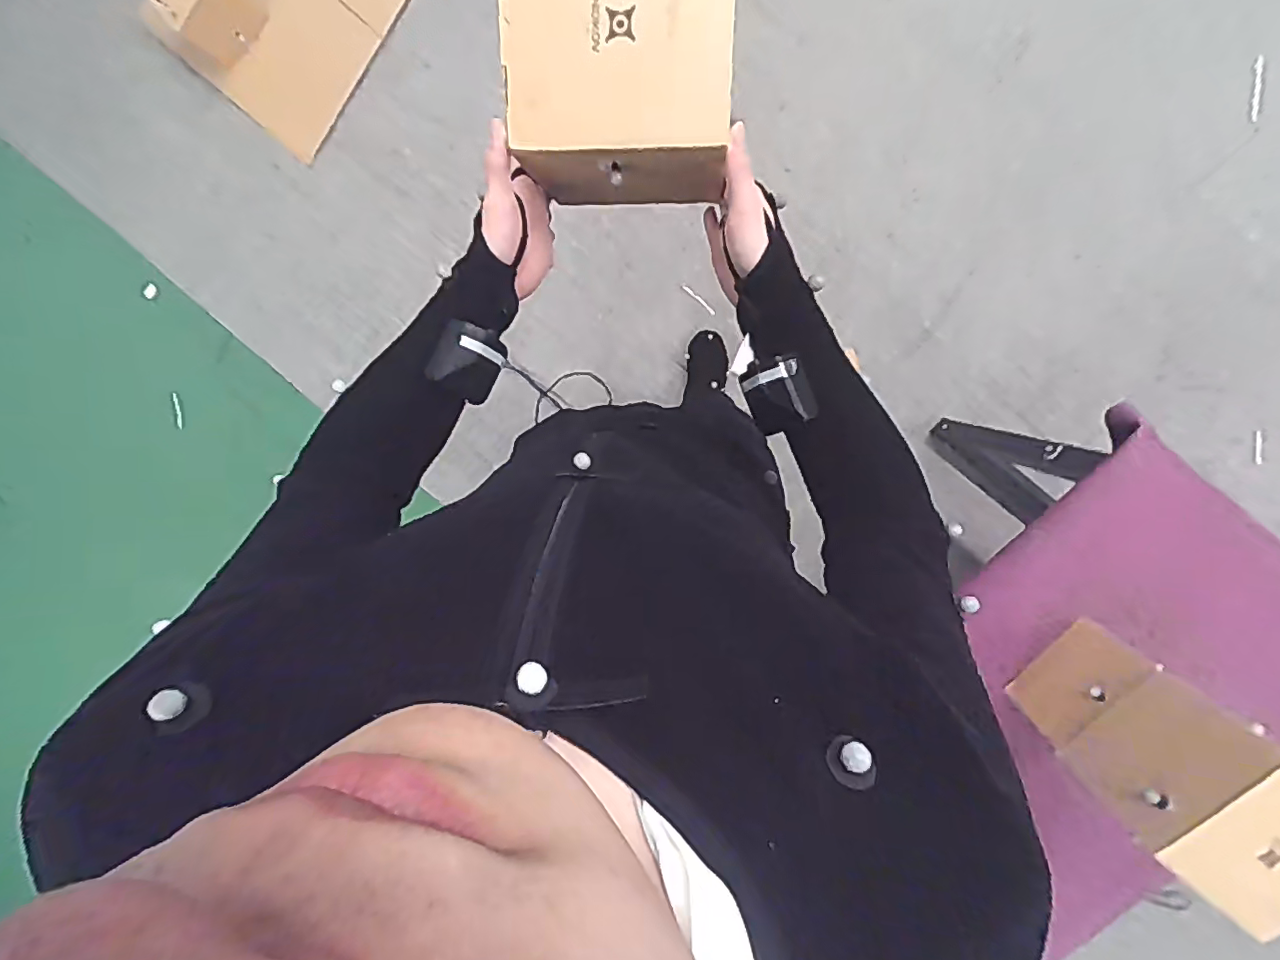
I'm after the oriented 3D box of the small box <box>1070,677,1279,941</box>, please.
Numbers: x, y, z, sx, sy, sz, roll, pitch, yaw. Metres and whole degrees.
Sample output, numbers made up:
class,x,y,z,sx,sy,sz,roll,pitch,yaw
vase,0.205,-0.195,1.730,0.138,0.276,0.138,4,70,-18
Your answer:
class,x,y,z,sx,sy,sz,roll,pitch,yaw
small box,0.682,0.384,0.659,0.168,0.176,0.179,39,102,-3

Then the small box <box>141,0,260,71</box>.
class,x,y,z,sx,sy,sz,roll,pitch,yaw
small box,-1.144,-1.233,1.407,0.179,0.176,0.168,-40,95,11

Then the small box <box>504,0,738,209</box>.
class,x,y,z,sx,sy,sz,roll,pitch,yaw
small box,-0.008,-0.349,0.479,0.179,0.176,0.168,2,103,5

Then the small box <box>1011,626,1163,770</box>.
class,x,y,z,sx,sy,sz,roll,pitch,yaw
small box,0.712,0.360,0.820,0.168,0.176,0.179,38,102,-2
